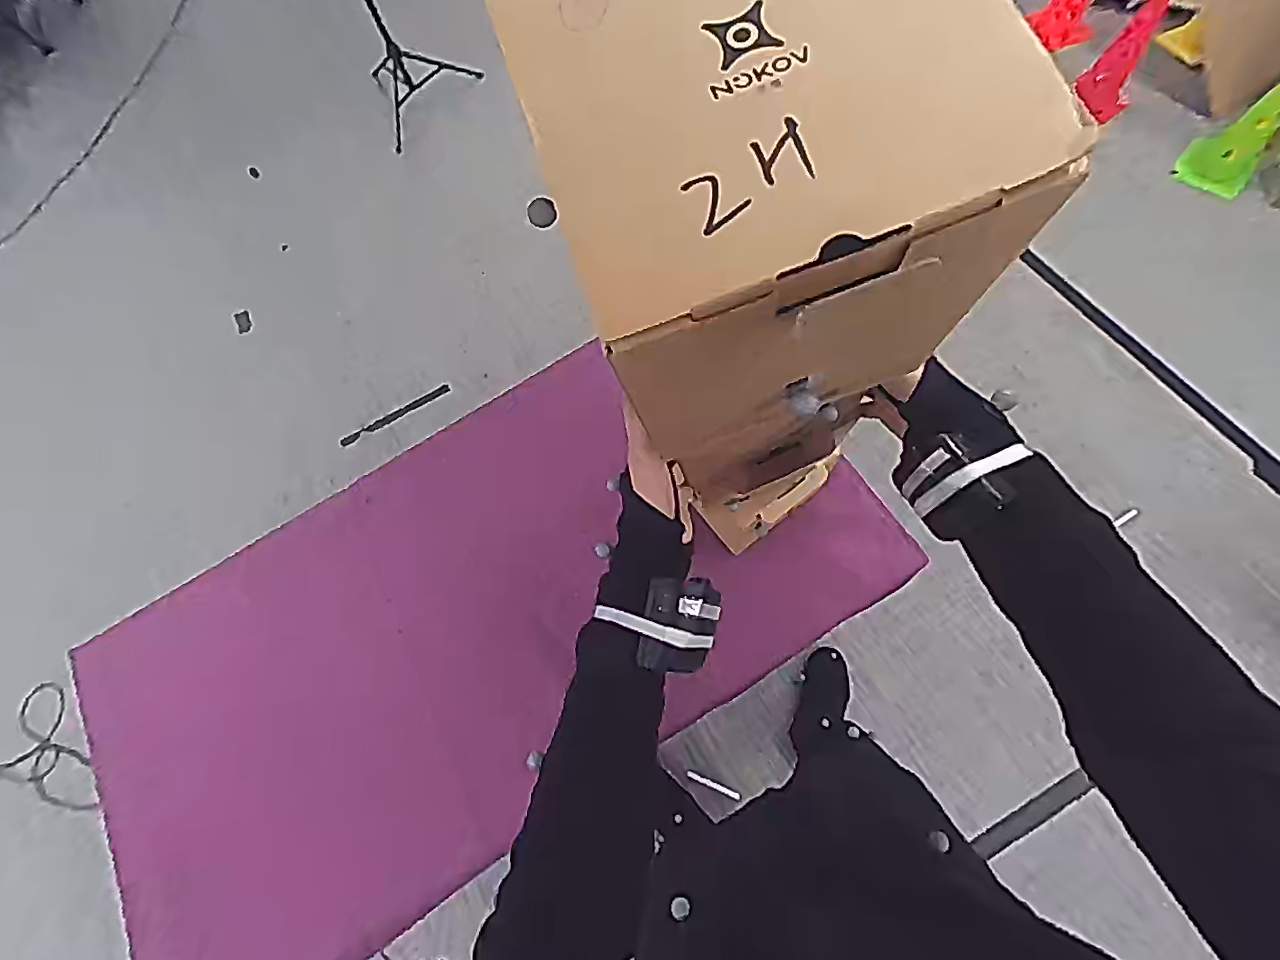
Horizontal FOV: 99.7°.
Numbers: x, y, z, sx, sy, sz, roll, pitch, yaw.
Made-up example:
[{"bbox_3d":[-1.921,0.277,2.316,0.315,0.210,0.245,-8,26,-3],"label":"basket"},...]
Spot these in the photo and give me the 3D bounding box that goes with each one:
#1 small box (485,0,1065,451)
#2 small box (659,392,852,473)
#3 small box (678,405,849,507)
[{"bbox_3d":[0.047,-0.136,0.276,0.168,0.176,0.179,-20,76,5],"label":"small box"},{"bbox_3d":[0.069,-0.118,0.439,0.168,0.176,0.179,-25,75,3],"label":"small box"},{"bbox_3d":[0.101,-0.080,0.595,0.168,0.176,0.179,-26,74,4],"label":"small box"}]
